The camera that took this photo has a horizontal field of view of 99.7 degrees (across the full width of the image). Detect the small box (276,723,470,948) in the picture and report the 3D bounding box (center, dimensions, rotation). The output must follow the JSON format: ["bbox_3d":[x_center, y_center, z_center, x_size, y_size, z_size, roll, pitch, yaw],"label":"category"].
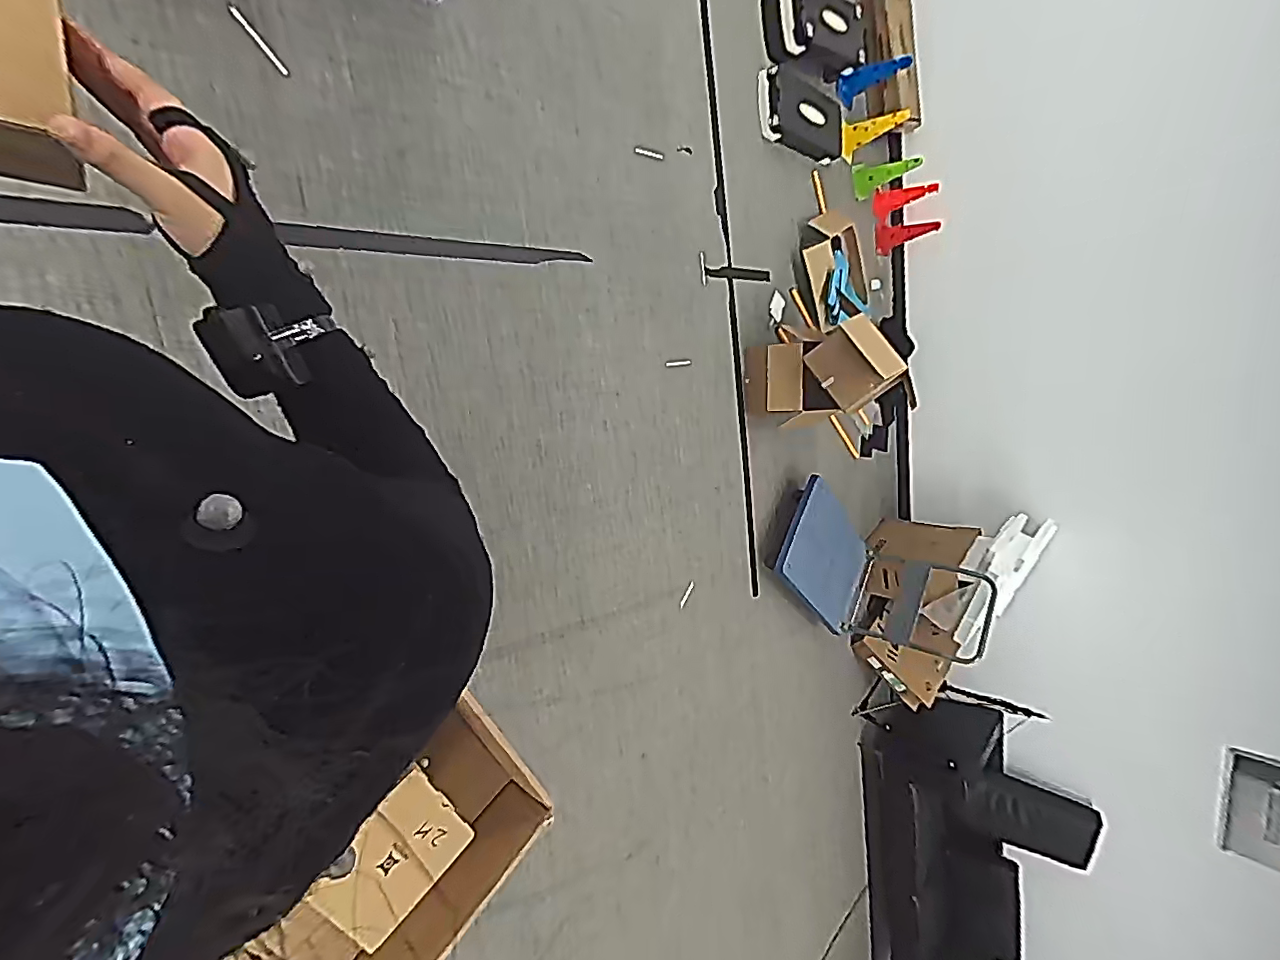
[{"bbox_3d":[-0.387,0.493,0.778,0.179,0.176,0.168,-40,119,-34],"label":"small box"}]
